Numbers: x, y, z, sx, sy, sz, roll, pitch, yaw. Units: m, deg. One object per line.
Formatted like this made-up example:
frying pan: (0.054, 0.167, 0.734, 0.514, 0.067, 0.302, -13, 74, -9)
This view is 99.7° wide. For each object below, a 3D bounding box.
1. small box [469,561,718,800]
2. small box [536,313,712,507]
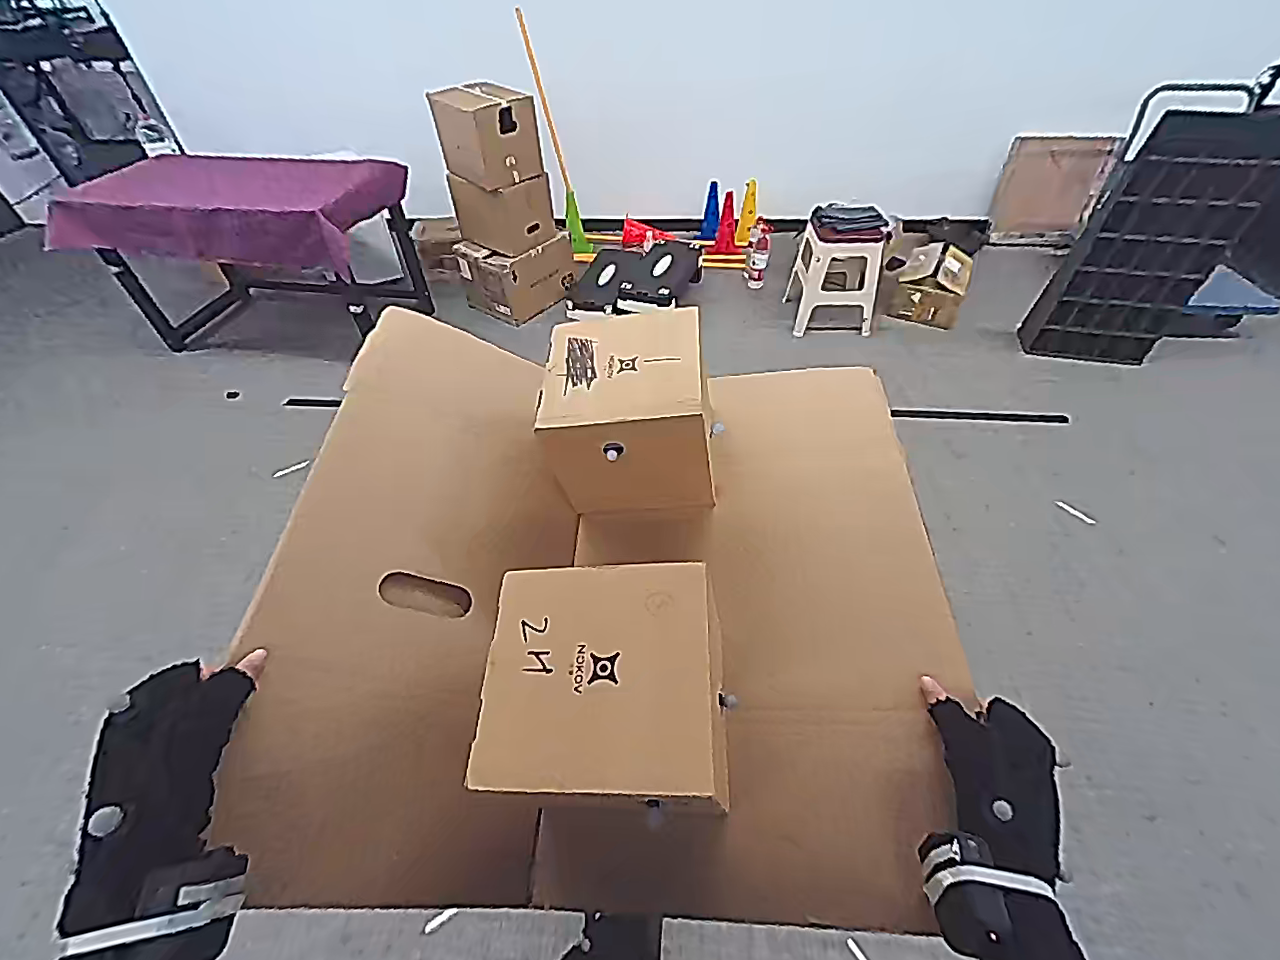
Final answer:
small box: (-0.021, 0.183, 0.486, 0.179, 0.176, 0.168, -4, 55, 11)
small box: (-0.007, -0.077, 0.666, 0.179, 0.176, 0.168, -4, 55, 10)
